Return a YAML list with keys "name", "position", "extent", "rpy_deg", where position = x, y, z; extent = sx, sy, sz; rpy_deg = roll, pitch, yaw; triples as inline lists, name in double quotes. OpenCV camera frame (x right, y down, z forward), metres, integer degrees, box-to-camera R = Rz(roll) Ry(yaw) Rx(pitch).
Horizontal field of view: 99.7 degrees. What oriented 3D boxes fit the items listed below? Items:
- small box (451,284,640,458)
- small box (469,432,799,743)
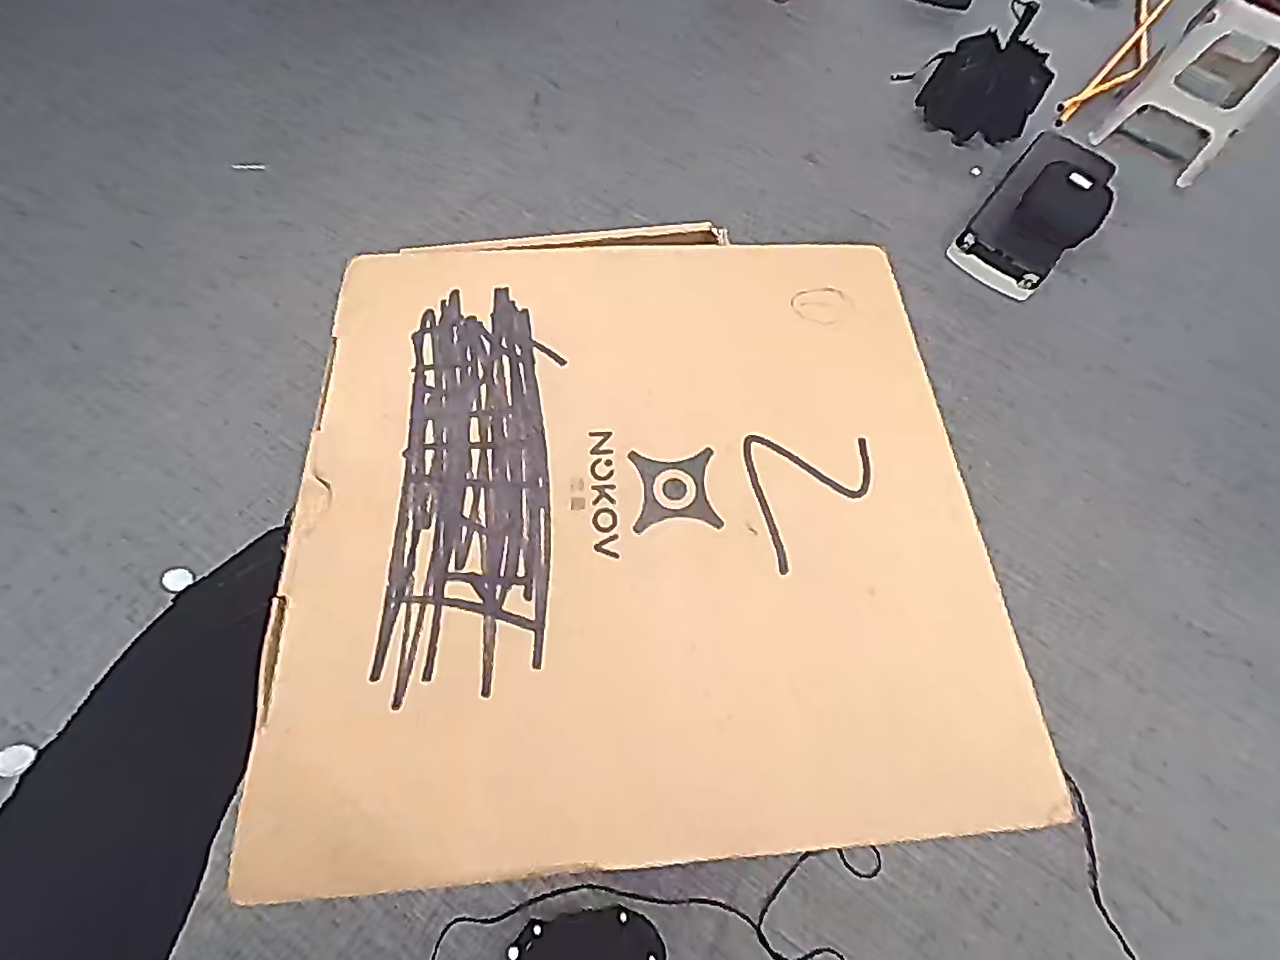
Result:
- name: "small box"
  position: [-0.100, -0.090, 0.616]
  extent: [0.168, 0.176, 0.179]
  rpy_deg: [-12, 78, -7]
- name: "small box"
  position: [-0.012, 0.082, 0.383]
  extent: [0.179, 0.176, 0.168]
  rpy_deg: [-6, 67, -4]
